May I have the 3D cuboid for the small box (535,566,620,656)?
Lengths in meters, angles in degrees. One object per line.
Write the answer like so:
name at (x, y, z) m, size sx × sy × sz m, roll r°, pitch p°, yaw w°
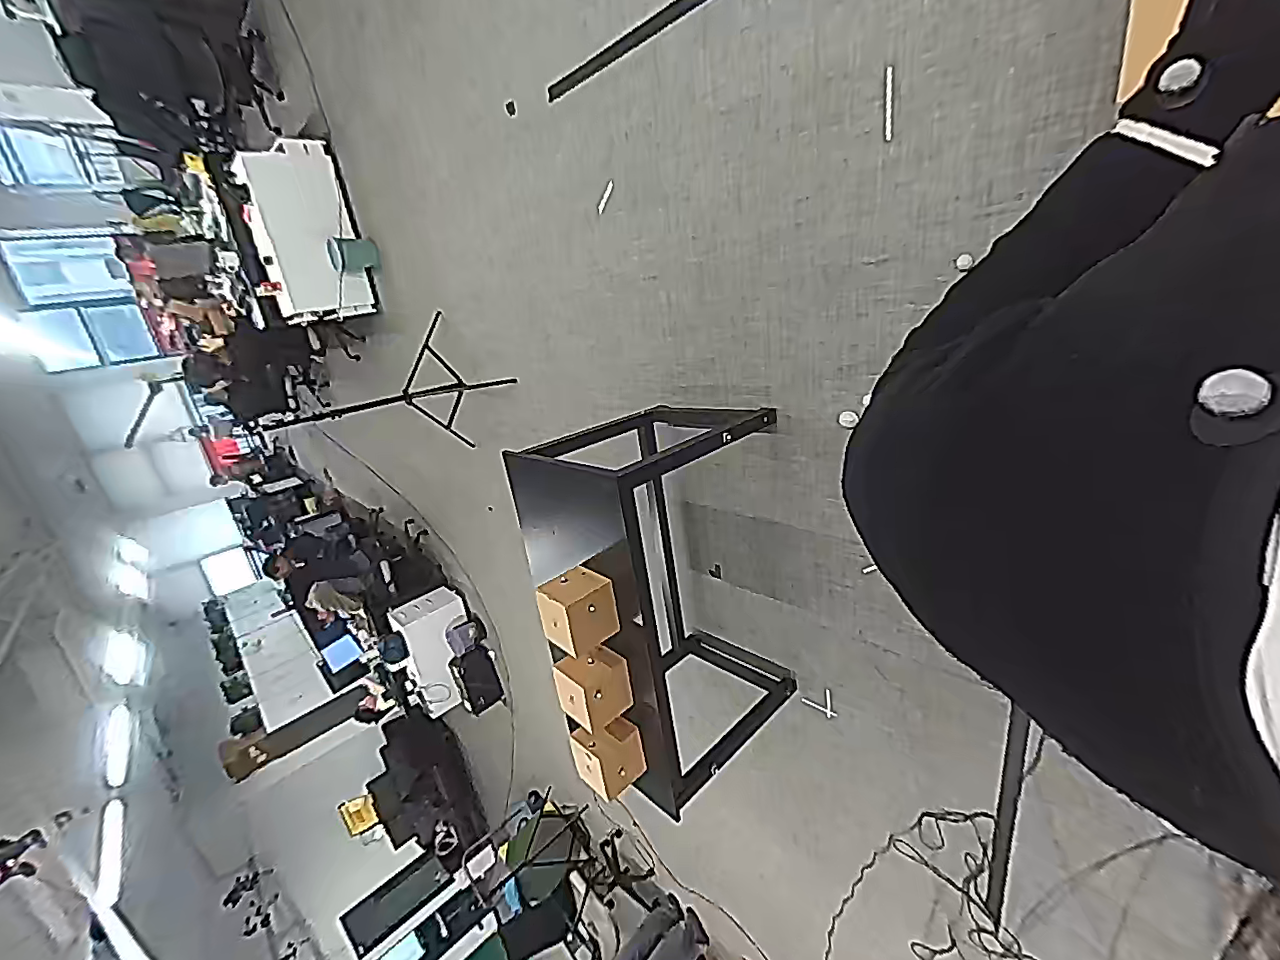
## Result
small box at (-0.181, 0.376, 1.594) m, size 0.168 × 0.176 × 0.179 m, roll 14°, pitch 121°, yaw 48°

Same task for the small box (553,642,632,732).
small box at (-0.145, 0.633, 1.684) m, size 0.168 × 0.176 × 0.179 m, roll 15°, pitch 120°, yaw 47°

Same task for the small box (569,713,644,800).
small box at (-0.104, 0.888, 1.773) m, size 0.168 × 0.176 × 0.179 m, roll 10°, pitch 116°, yaw 48°
